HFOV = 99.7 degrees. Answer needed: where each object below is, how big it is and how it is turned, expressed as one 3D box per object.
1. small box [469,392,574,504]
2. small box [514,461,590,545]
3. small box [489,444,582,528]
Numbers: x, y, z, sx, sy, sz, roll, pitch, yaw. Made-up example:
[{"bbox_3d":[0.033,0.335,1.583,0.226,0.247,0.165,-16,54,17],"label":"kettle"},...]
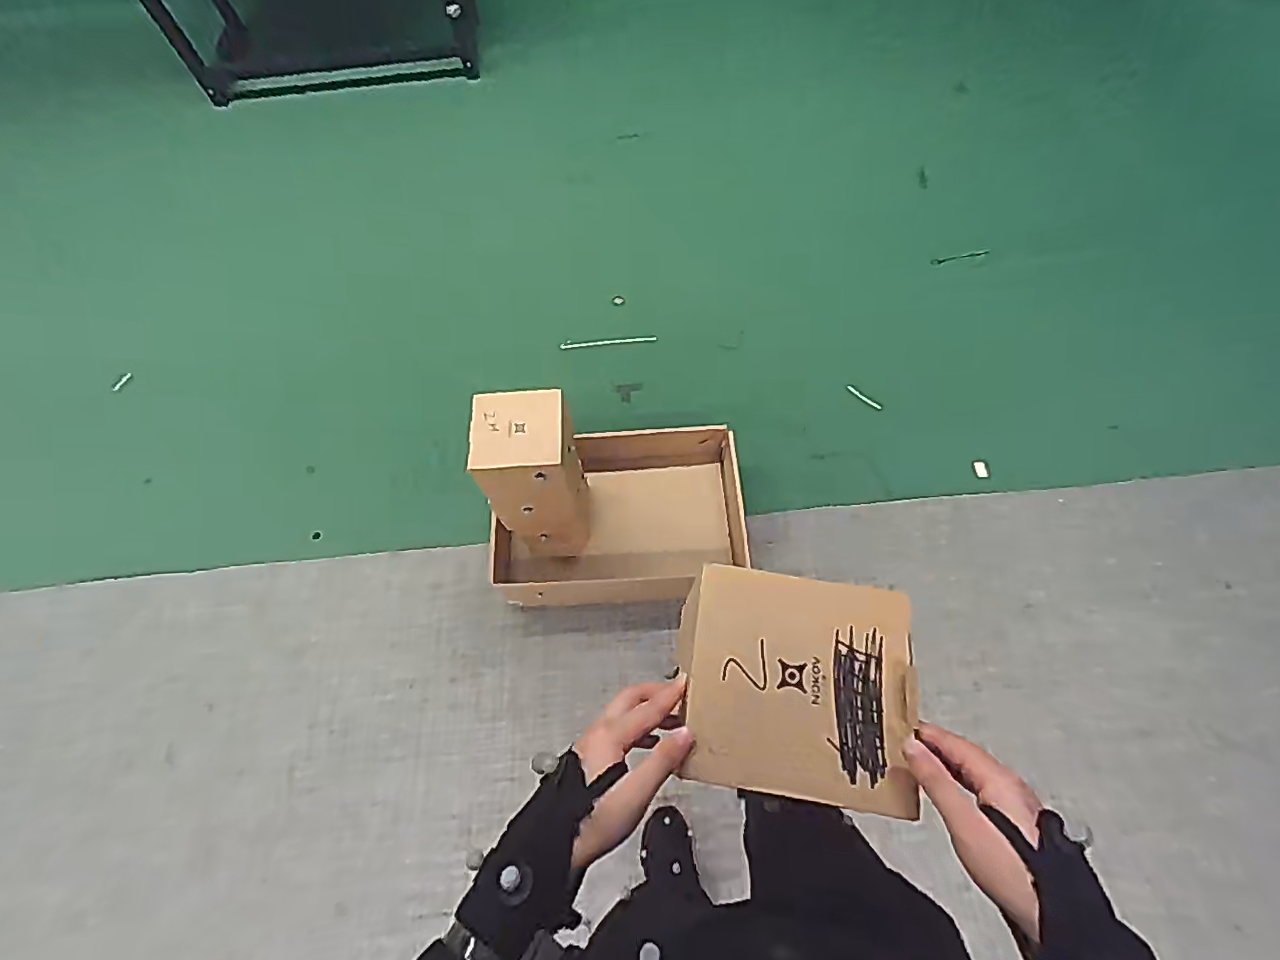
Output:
[{"bbox_3d":[-0.227,-0.059,1.084,0.179,0.176,0.168,-4,65,1],"label":"small box"},{"bbox_3d":[-0.221,0.065,1.390,0.168,0.176,0.179,-4,66,0],"label":"small box"},{"bbox_3d":[-0.232,0.007,1.236,0.179,0.176,0.168,-3,66,0],"label":"small box"}]
